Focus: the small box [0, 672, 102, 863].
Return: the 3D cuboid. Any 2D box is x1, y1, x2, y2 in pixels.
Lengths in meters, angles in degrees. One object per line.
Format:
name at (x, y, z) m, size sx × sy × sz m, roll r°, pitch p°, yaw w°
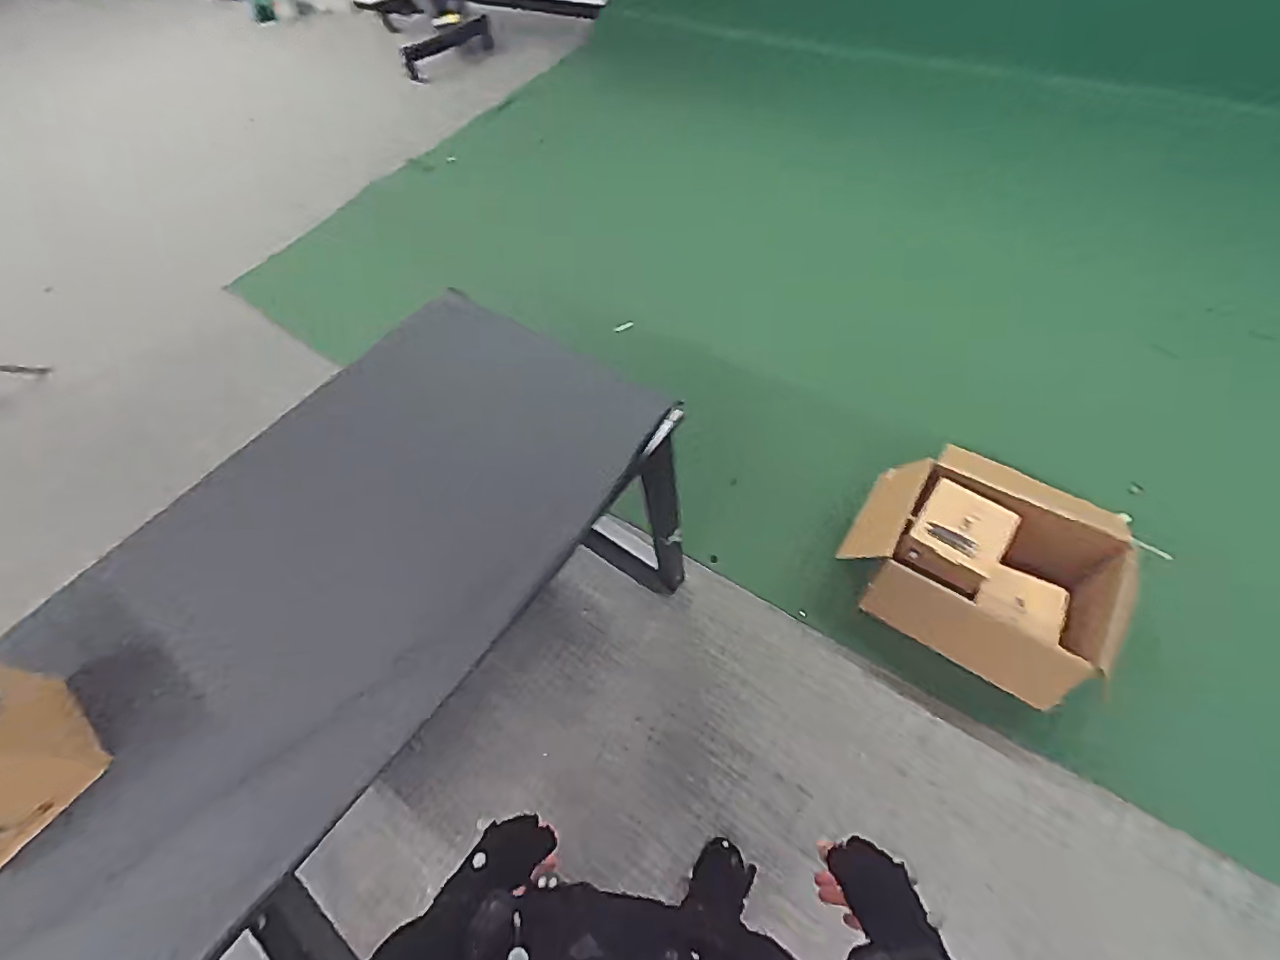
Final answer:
small box at (-0.792, 0.332, 0.614) m, size 0.179 × 0.176 × 0.168 m, roll 32°, pitch 66°, yaw 22°
